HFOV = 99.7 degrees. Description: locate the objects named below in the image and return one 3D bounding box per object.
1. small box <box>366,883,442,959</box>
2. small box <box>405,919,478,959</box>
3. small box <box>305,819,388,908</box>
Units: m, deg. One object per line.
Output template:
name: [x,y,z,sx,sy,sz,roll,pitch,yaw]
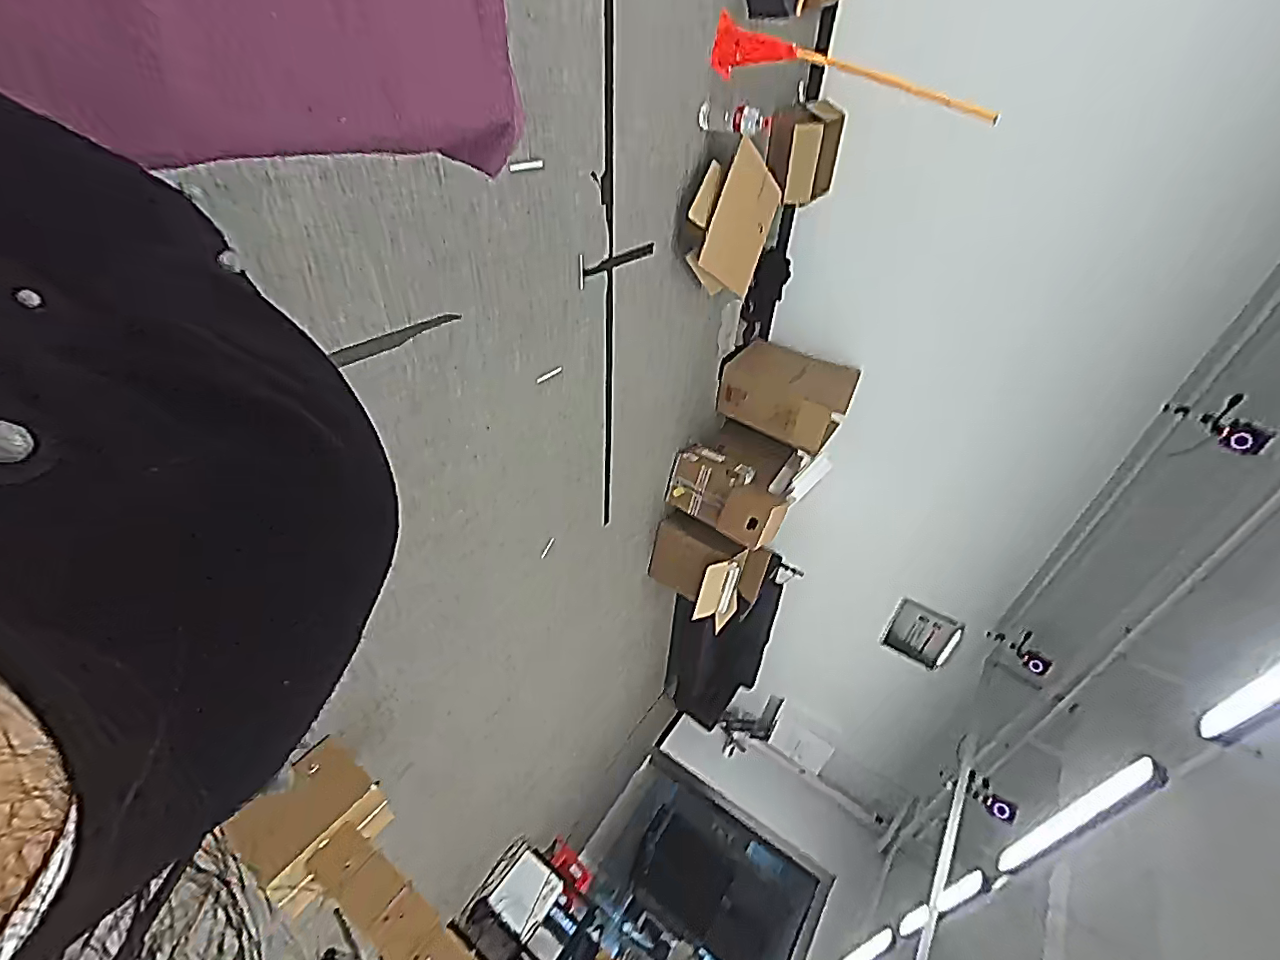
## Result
small box: [-0.766,1.483,1.786,0.168,0.176,0.179,-41,146,-40]
small box: [-0.631,1.550,1.718,0.168,0.176,0.179,-43,146,-39]
small box: [-1.037,1.350,1.912,0.179,0.176,0.168,-41,145,-39]
